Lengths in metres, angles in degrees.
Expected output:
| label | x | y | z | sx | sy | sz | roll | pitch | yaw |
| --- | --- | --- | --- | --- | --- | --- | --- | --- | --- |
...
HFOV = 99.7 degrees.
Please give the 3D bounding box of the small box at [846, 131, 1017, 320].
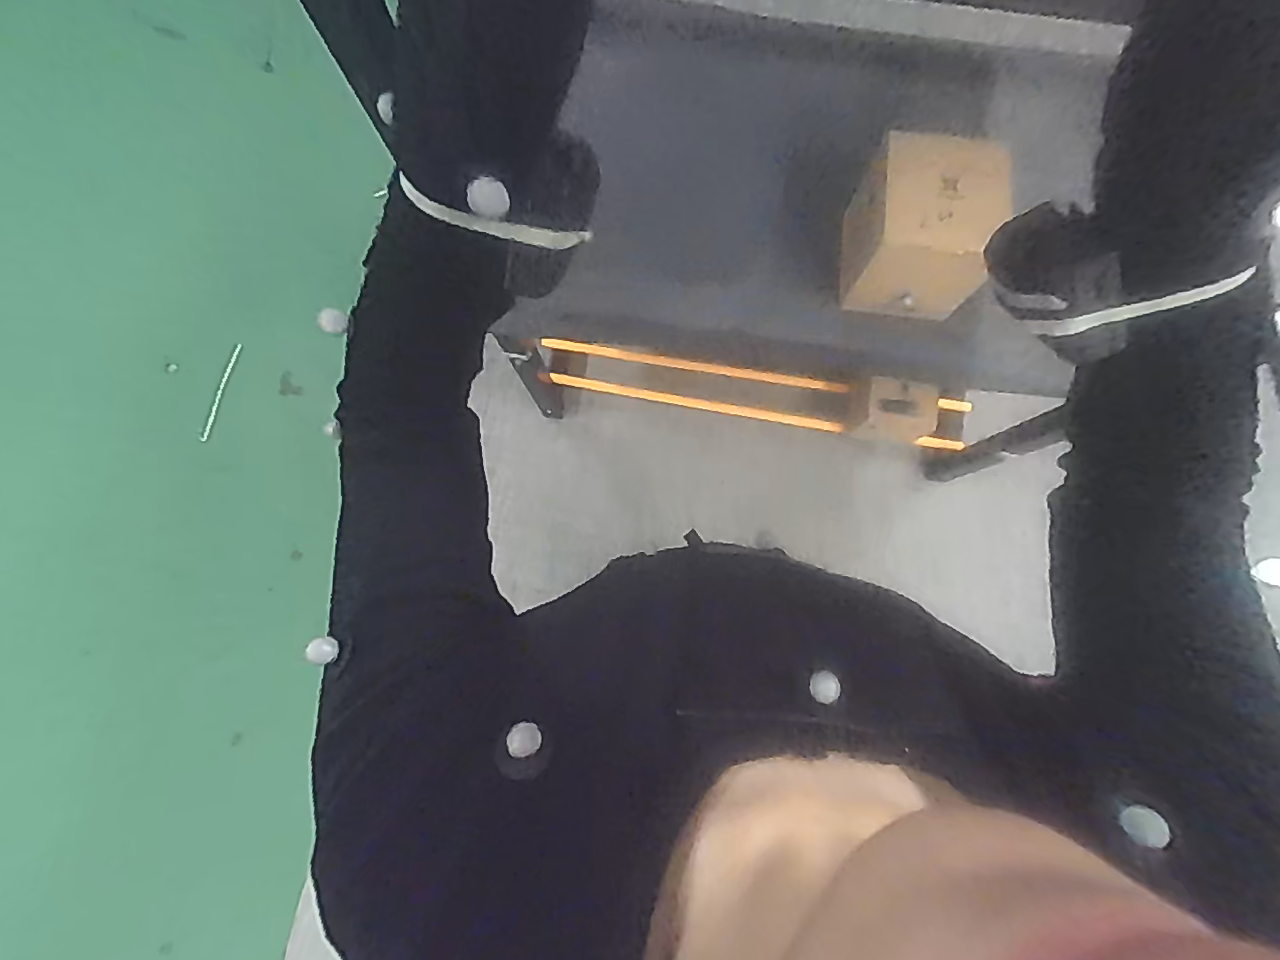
| label | x | y | z | sx | sy | sz | roll | pitch | yaw |
| --- | --- | --- | --- | --- | --- | --- | --- | --- | --- |
| small box | 0.413 | -0.363 | 0.790 | 0.168 | 0.176 | 0.179 | 7 | 77 | 3 |
